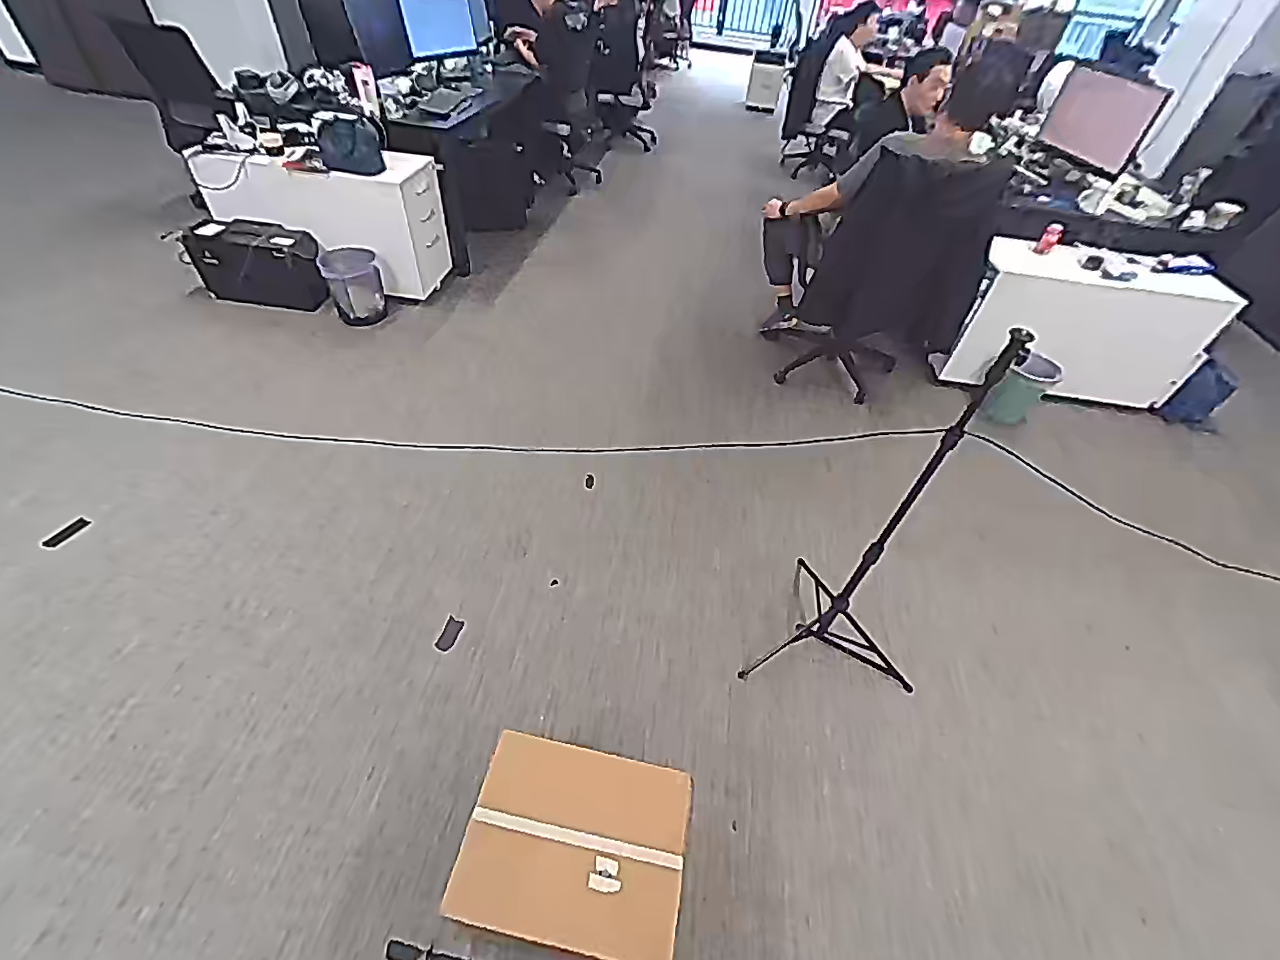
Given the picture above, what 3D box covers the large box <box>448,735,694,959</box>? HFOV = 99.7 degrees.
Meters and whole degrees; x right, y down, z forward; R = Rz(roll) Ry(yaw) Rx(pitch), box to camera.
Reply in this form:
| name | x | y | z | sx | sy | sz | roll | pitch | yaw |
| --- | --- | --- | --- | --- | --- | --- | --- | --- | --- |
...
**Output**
| name | x | y | z | sx | sy | sz | roll | pitch | yaw |
| --- | --- | --- | --- | --- | --- | --- | --- | --- | --- |
| large box | -0.126 | 0.777 | 1.117 | 0.408 | 0.320 | 0.320 | 12 | 46 | 4 |
